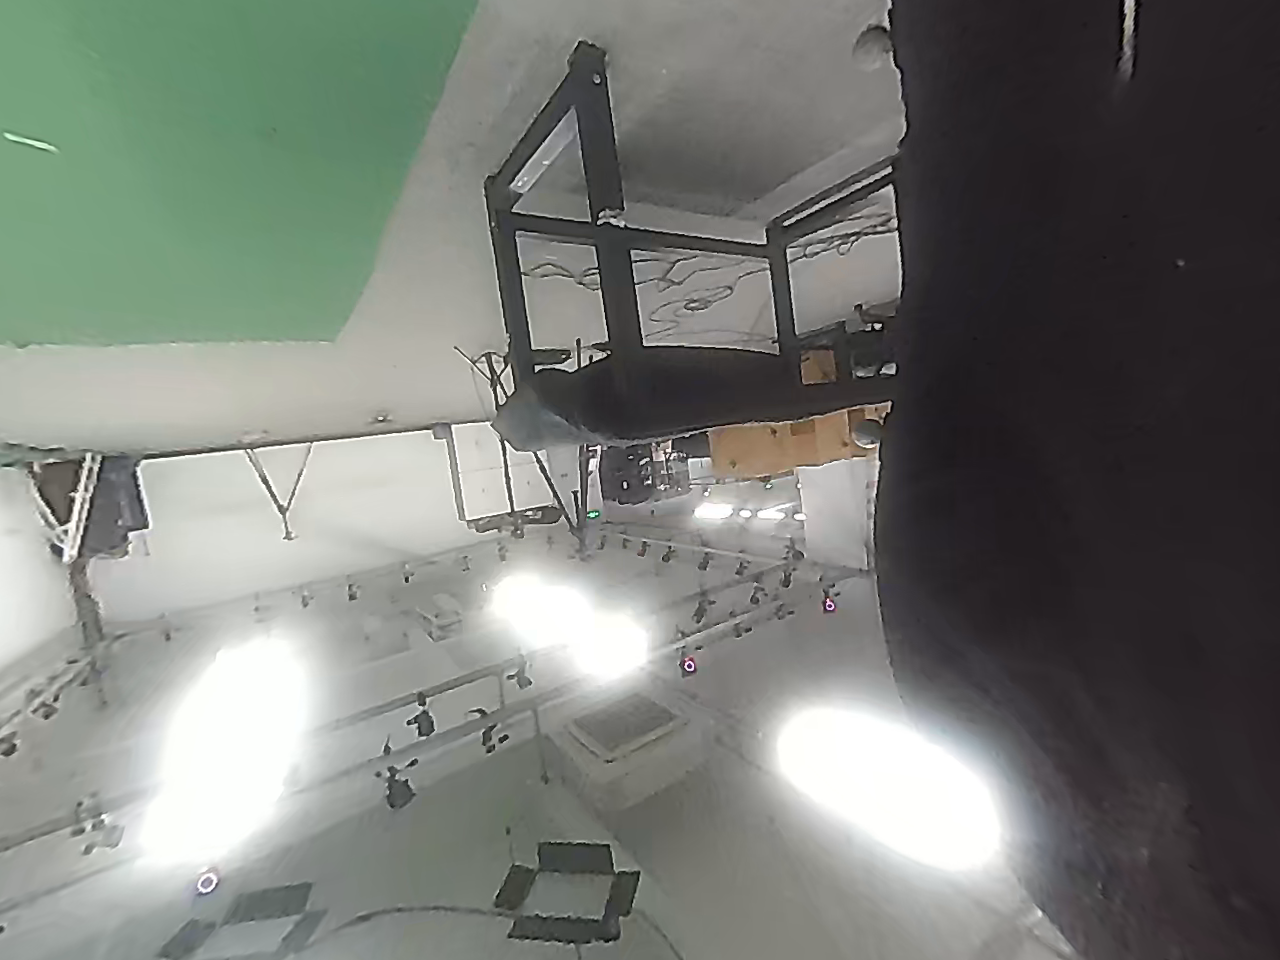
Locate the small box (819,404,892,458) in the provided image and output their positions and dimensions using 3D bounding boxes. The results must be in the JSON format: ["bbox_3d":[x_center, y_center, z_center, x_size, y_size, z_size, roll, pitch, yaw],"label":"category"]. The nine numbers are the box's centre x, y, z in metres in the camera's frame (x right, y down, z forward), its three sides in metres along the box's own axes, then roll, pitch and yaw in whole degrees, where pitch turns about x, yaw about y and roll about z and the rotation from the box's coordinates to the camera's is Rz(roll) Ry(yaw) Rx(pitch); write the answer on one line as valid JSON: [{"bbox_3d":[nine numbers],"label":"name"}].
[{"bbox_3d":[0.727,-0.167,1.832,0.168,0.176,0.179,-9,-174,-32],"label":"small box"}]

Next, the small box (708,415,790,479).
[{"bbox_3d":[0.314,-0.098,1.581,0.168,0.176,0.179,-10,-175,-33],"label":"small box"}]
